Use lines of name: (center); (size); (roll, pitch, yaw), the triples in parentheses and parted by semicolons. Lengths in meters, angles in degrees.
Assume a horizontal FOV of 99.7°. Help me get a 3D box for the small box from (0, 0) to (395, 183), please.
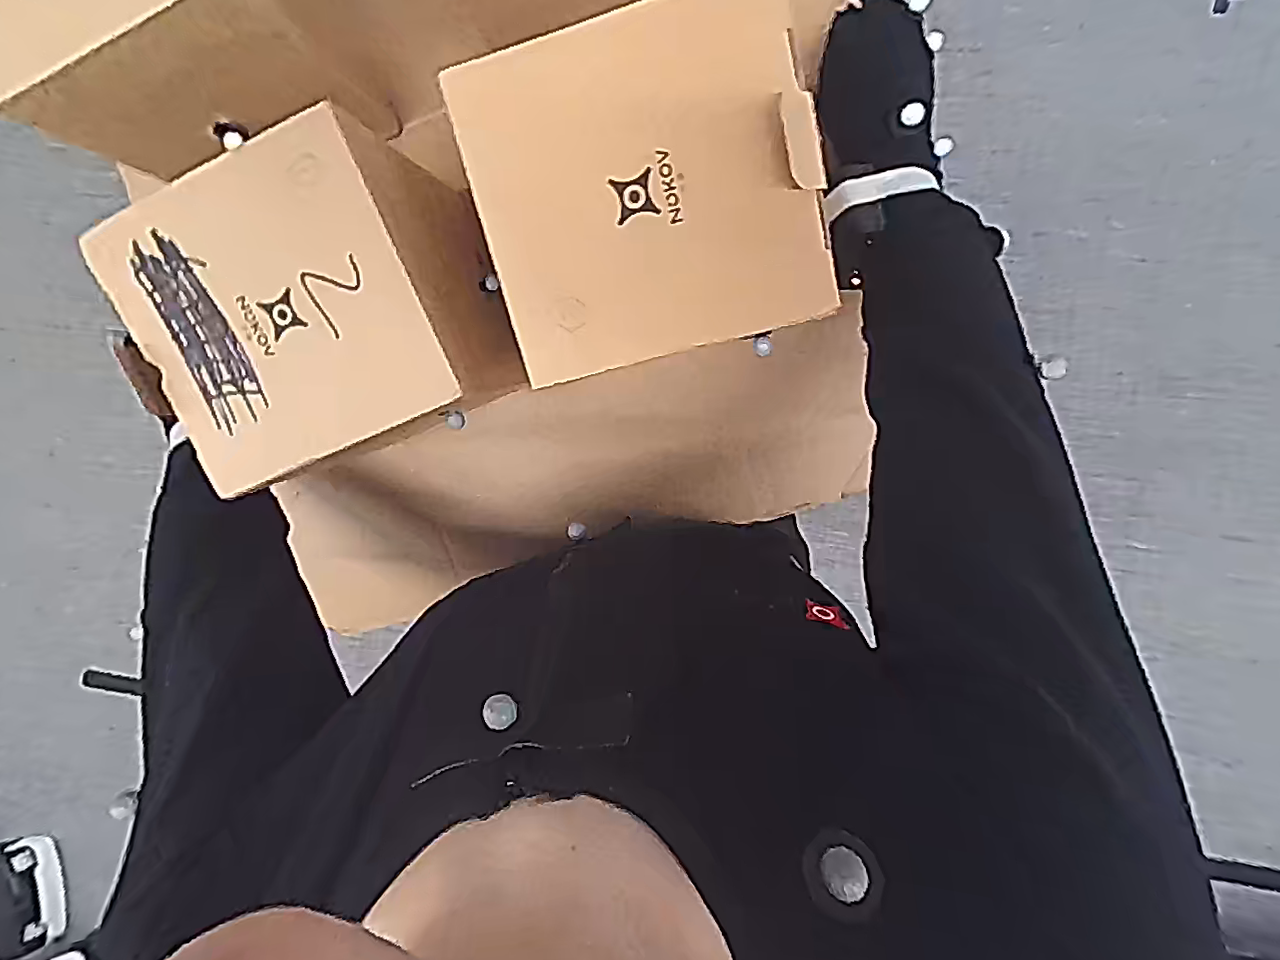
small box: (-0.301, -0.331, 0.363); (0.168, 0.176, 0.179); (-17, 95, 9)
